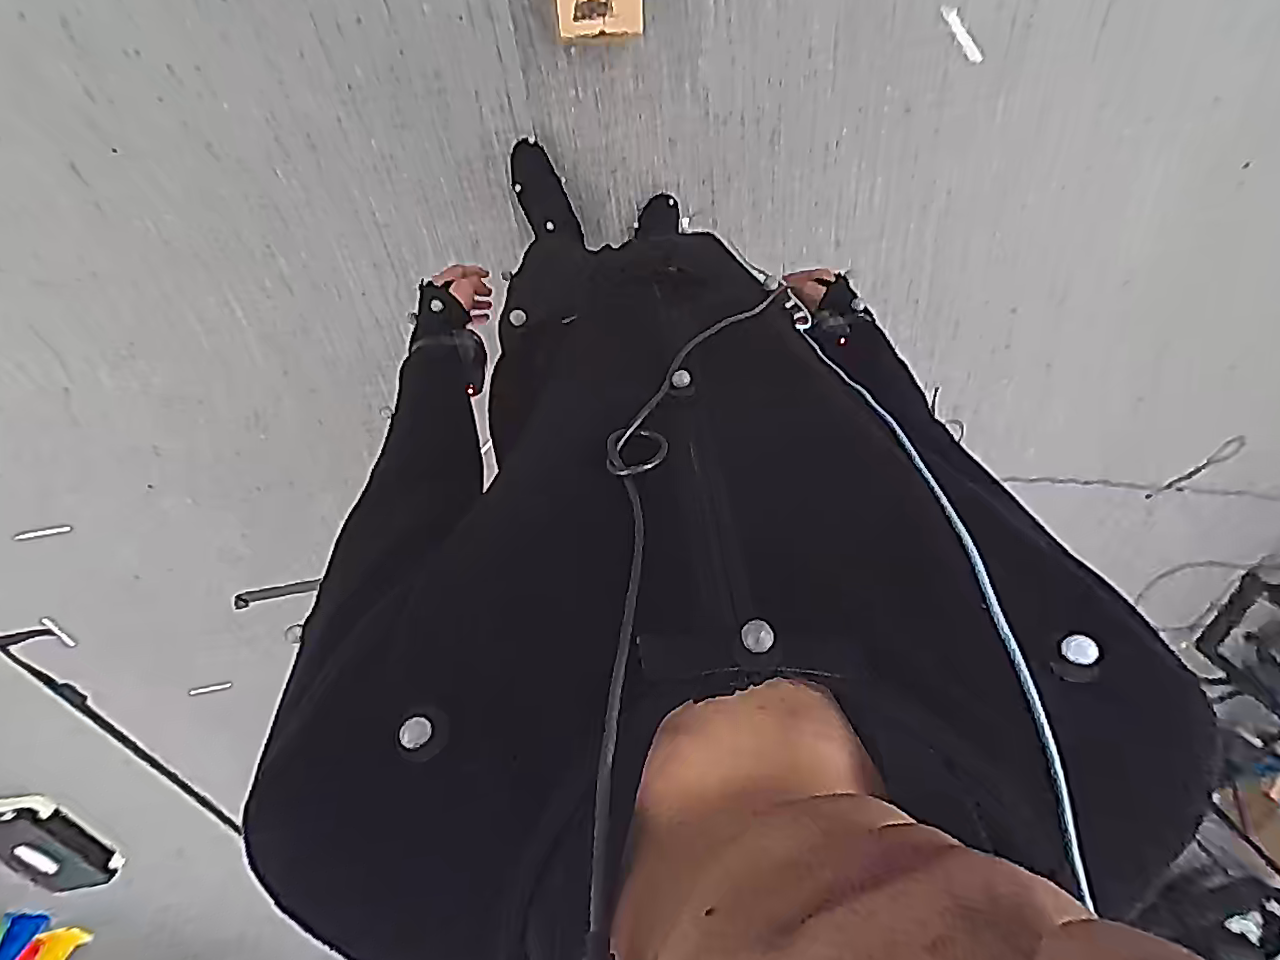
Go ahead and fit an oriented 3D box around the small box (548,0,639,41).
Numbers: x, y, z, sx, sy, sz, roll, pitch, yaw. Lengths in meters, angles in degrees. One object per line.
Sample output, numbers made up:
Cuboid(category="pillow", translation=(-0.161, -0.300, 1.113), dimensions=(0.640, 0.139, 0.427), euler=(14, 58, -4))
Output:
Cuboid(category="small box", translation=(-0.098, -0.979, 1.059), dimensions=(0.168, 0.176, 0.179), euler=(-8, 124, -6))
